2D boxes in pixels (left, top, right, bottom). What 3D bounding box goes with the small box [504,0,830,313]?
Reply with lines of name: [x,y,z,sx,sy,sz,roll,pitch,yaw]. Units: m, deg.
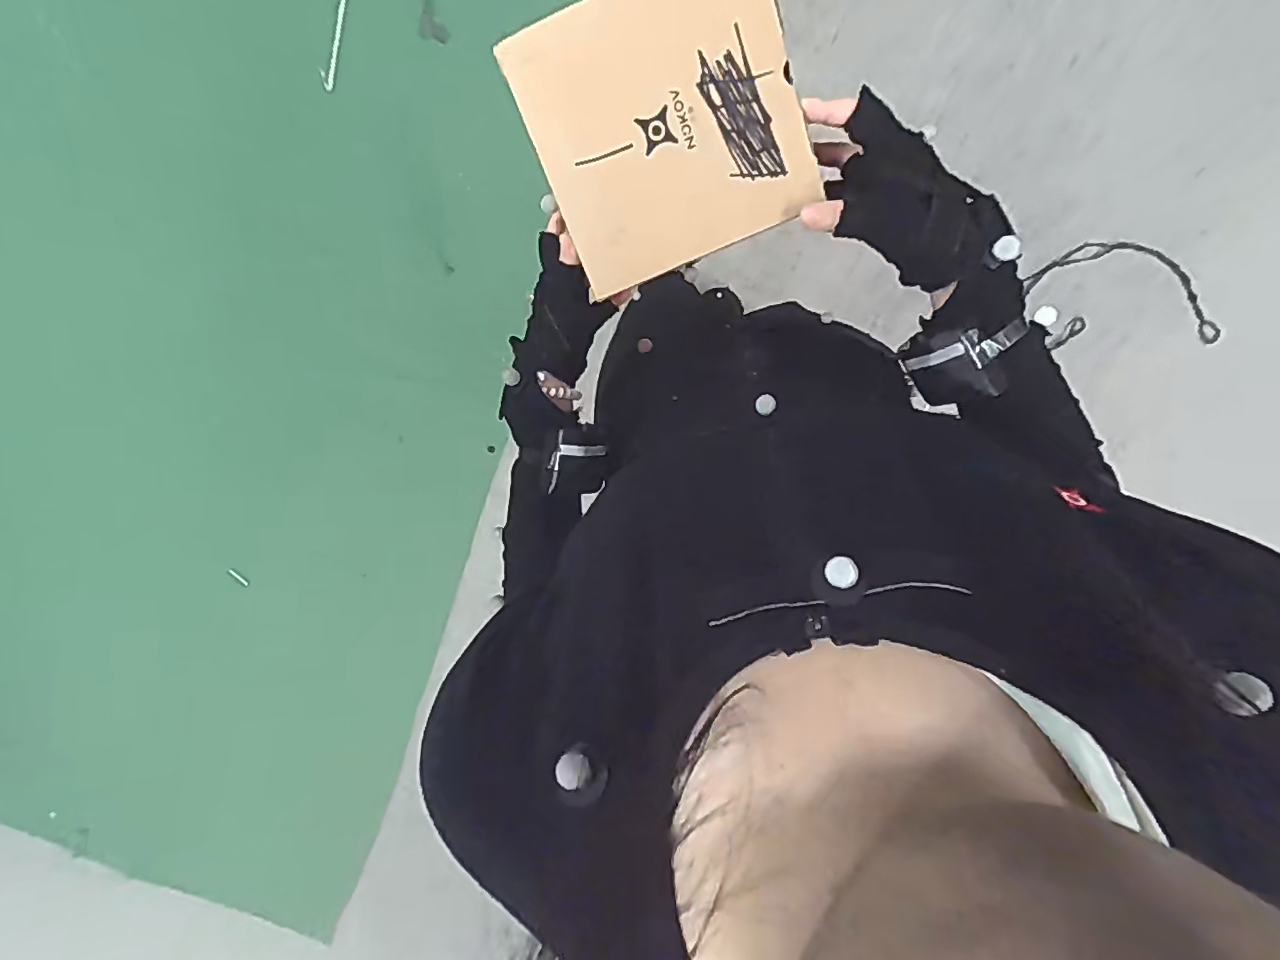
small box: [0.019,-0.246,0.426,0.179,0.176,0.168,-21,109,5]
